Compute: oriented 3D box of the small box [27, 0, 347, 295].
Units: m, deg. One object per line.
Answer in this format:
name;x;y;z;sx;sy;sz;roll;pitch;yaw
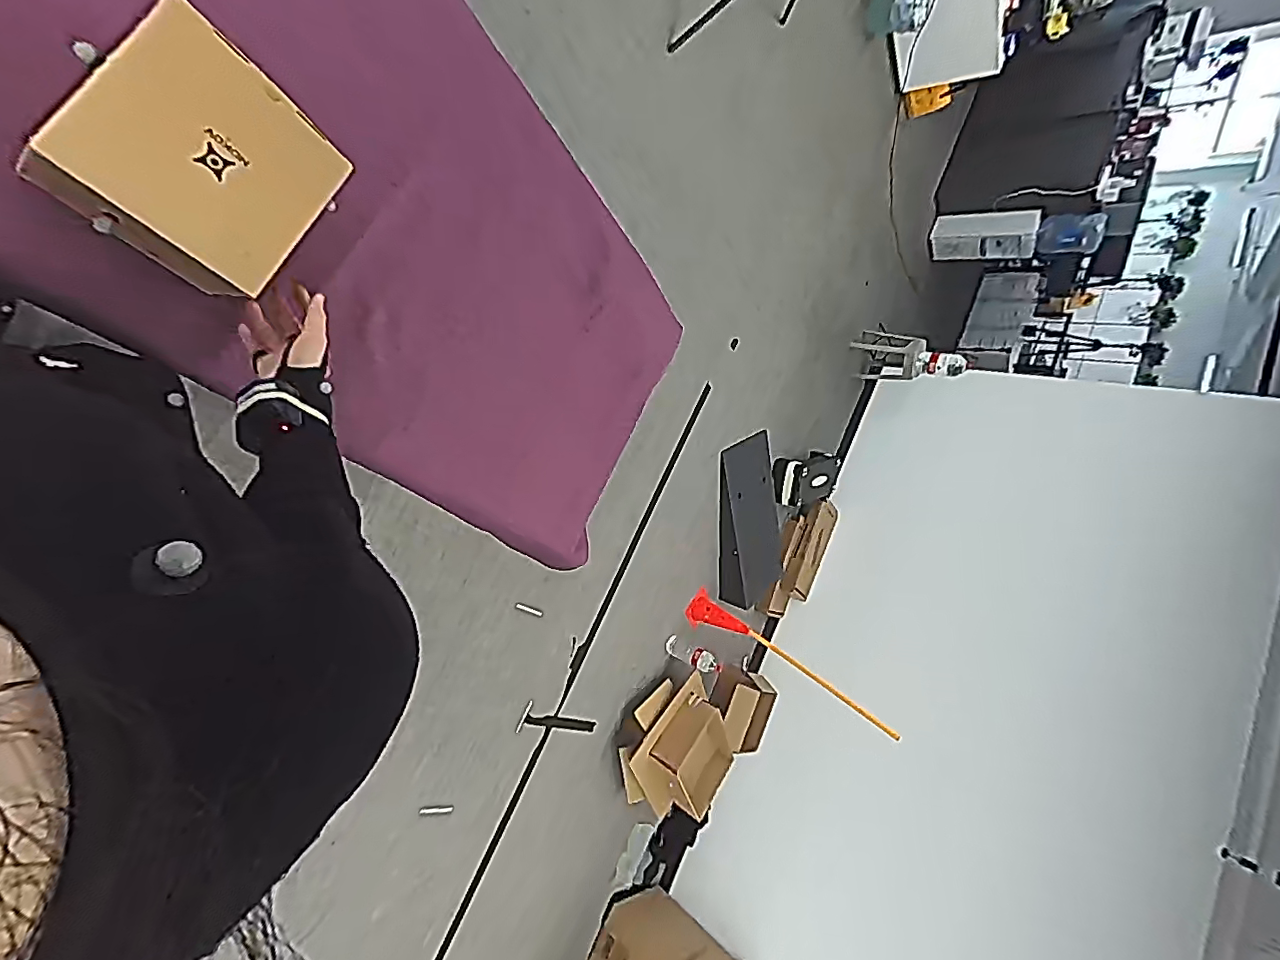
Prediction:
small box;-0.440;-0.305;0.533;0.168;0.176;0.179;42;69;-50
